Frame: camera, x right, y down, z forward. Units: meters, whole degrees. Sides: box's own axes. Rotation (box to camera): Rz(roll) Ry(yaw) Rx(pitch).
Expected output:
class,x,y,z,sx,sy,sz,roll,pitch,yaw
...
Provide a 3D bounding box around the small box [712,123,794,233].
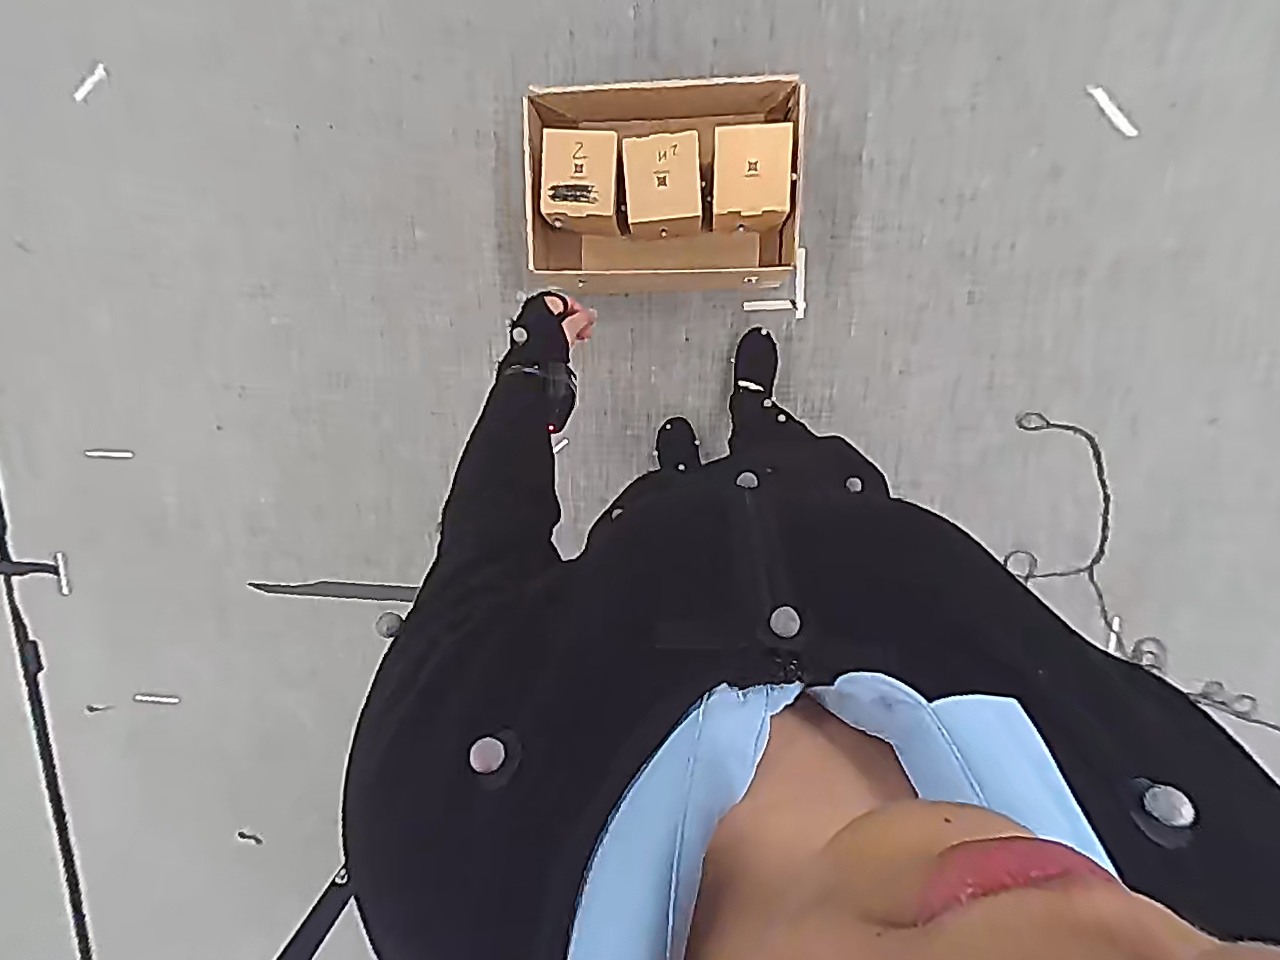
class,x,y,z,sx,sy,sz,roll,pitch,yaw
small box,0.252,-0.683,1.238,0.168,0.176,0.179,1,101,7

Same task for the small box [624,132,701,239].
class,x,y,z,sx,sy,sz,roll,pitch,yaw
small box,0.056,-0.673,1.257,0.168,0.176,0.179,-4,99,4
